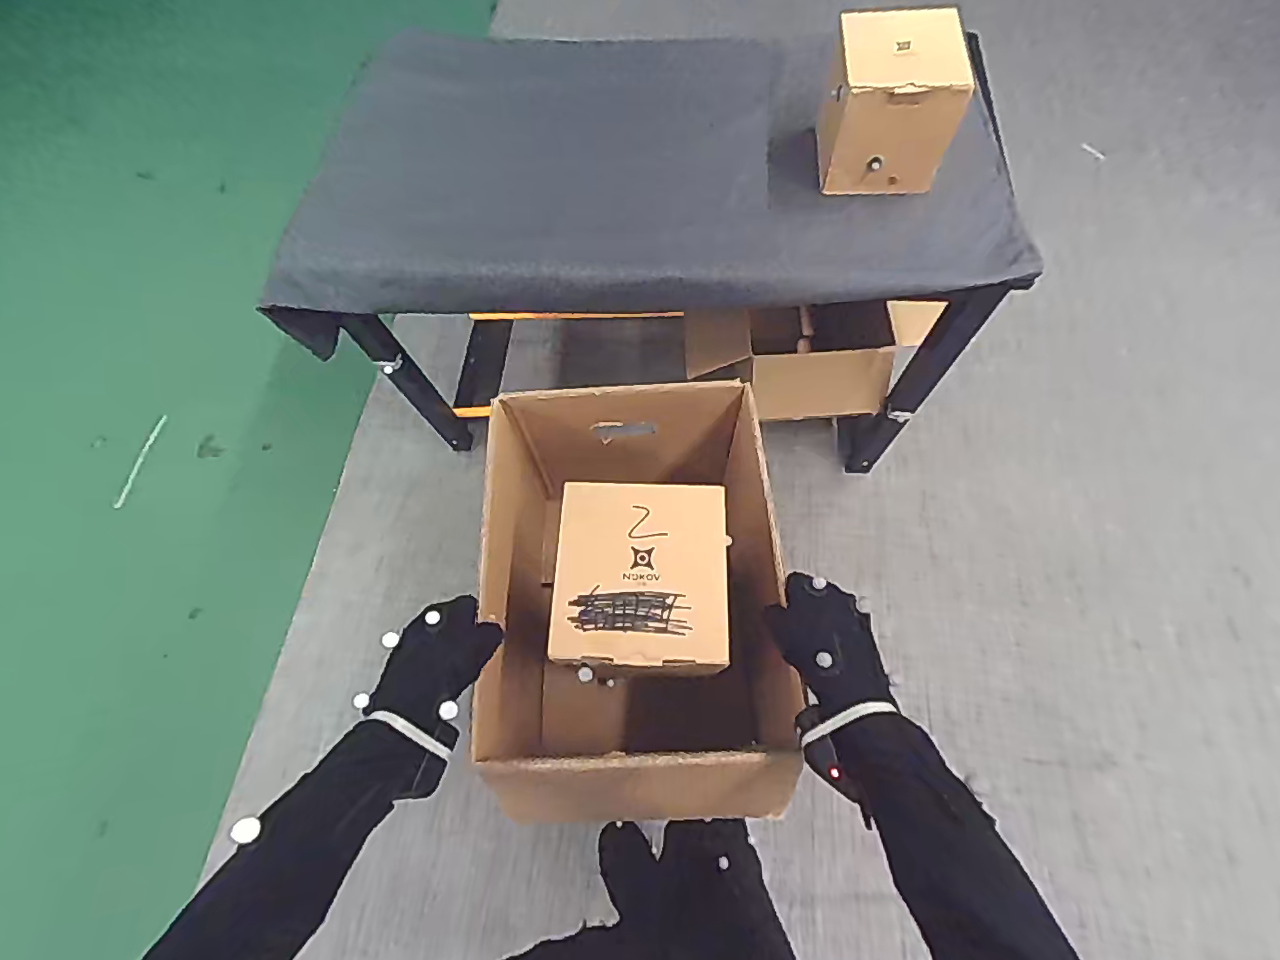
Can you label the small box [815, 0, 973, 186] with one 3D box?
[{"bbox_3d":[0.371,-0.585,0.827,0.168,0.176,0.179,1,68,6],"label":"small box"}]
